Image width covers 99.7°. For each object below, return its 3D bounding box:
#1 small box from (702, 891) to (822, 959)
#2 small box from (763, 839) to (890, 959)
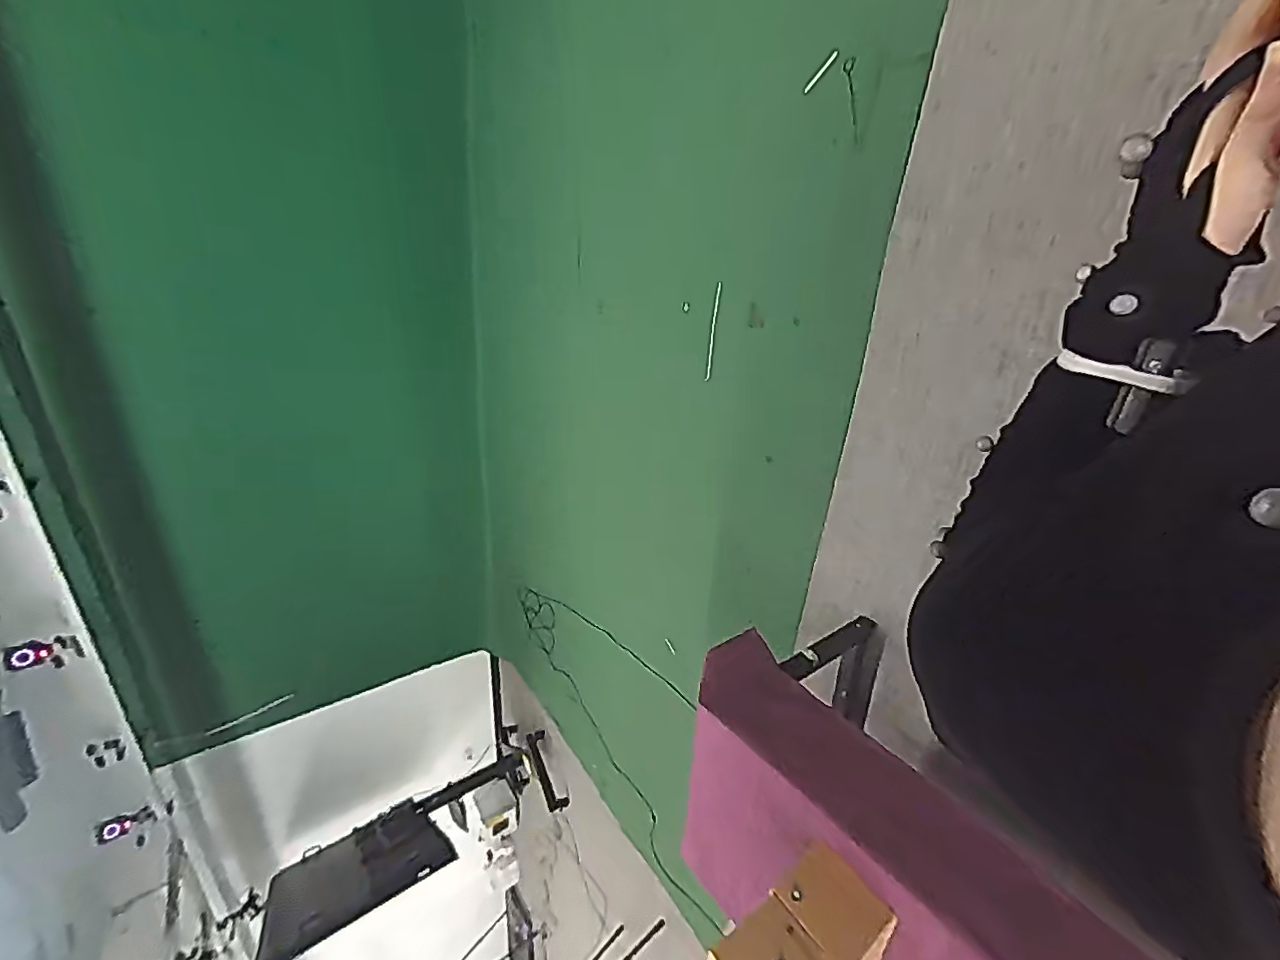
[{"bbox_3d":[0.223,0.902,0.974,0.168,0.176,0.179,35,128,46],"label":"small box"},{"bbox_3d":[0.356,0.866,1.063,0.179,0.176,0.168,32,126,47],"label":"small box"}]
